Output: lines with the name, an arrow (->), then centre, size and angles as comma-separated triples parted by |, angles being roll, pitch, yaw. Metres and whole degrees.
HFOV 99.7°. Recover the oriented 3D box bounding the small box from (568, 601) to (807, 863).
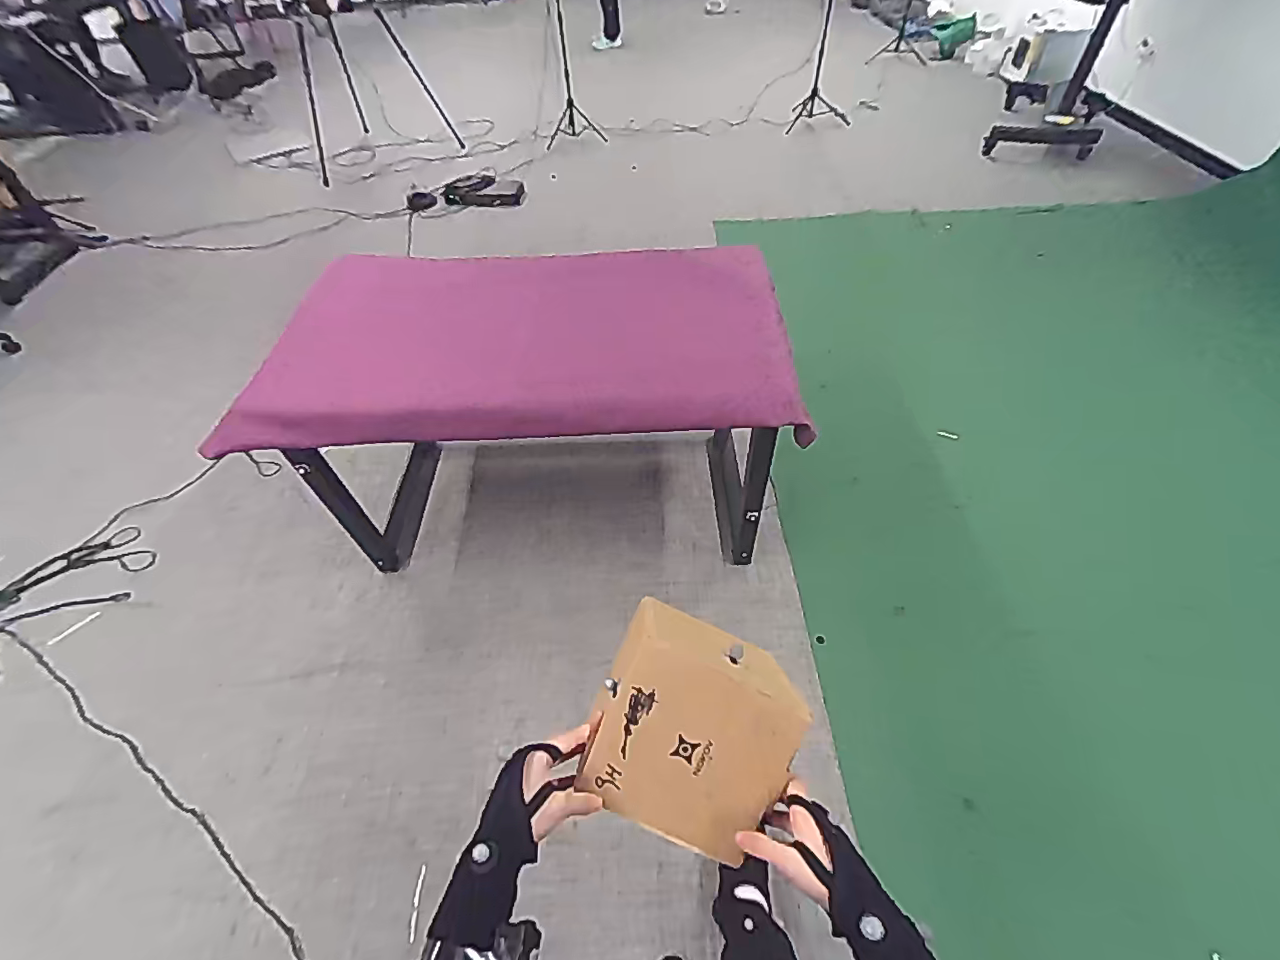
small box -> 0.044, 0.248, 0.580 | 0.179, 0.176, 0.168 | 25, 90, 0
